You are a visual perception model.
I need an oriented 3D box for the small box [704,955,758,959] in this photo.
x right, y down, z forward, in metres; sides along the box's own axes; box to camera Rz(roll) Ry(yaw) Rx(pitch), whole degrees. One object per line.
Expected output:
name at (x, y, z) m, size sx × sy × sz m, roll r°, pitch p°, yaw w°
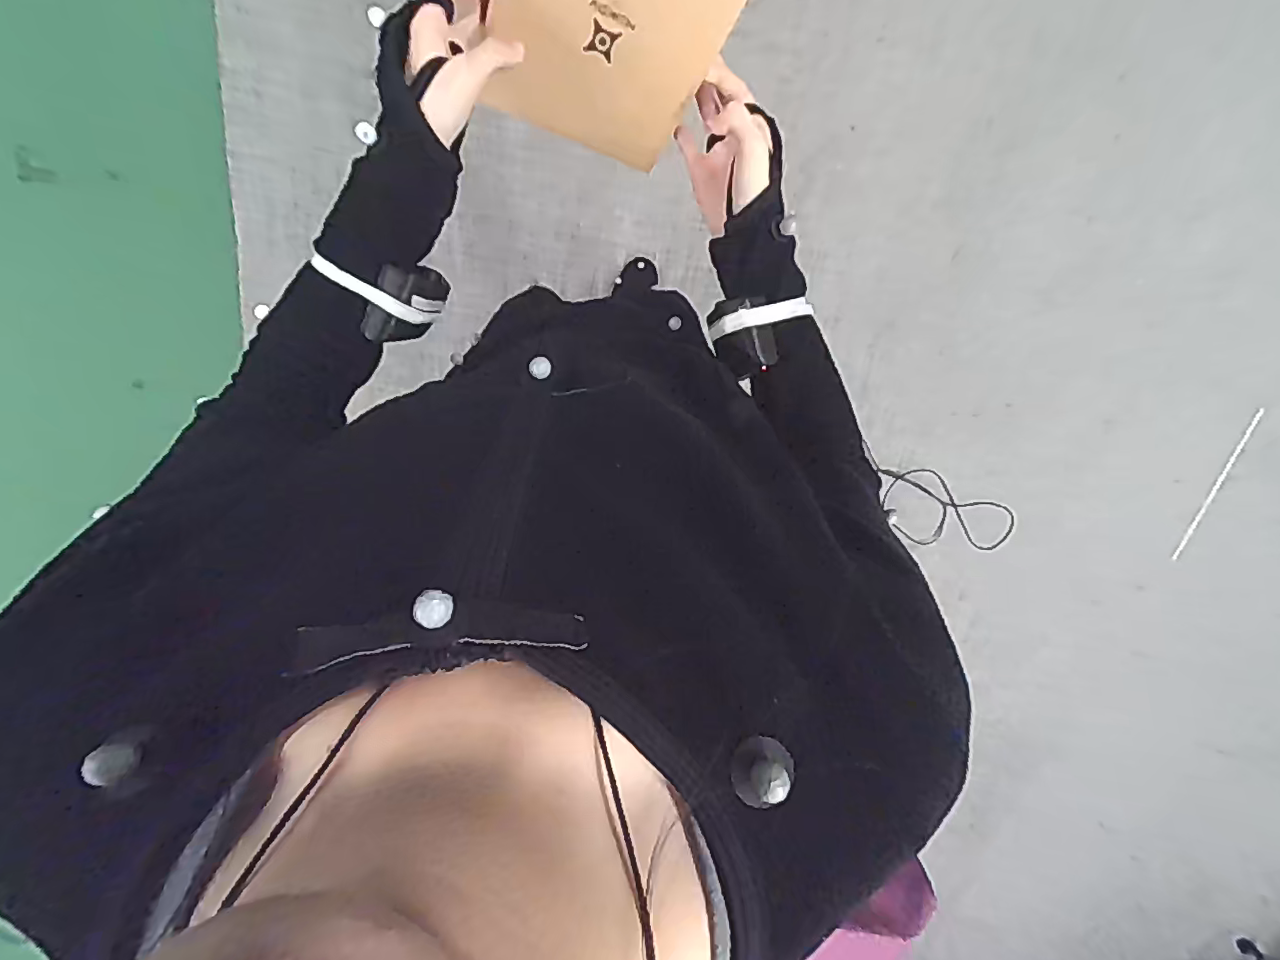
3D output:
small box at (0.209, 1.128, 1.117) m, size 0.168 × 0.176 × 0.179 m, roll 4°, pitch 112°, yaw -1°

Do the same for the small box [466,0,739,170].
small box at (-0.032, -0.406, 0.433) m, size 0.168 × 0.176 × 0.179 m, roll 10°, pitch 152°, yaw -25°
